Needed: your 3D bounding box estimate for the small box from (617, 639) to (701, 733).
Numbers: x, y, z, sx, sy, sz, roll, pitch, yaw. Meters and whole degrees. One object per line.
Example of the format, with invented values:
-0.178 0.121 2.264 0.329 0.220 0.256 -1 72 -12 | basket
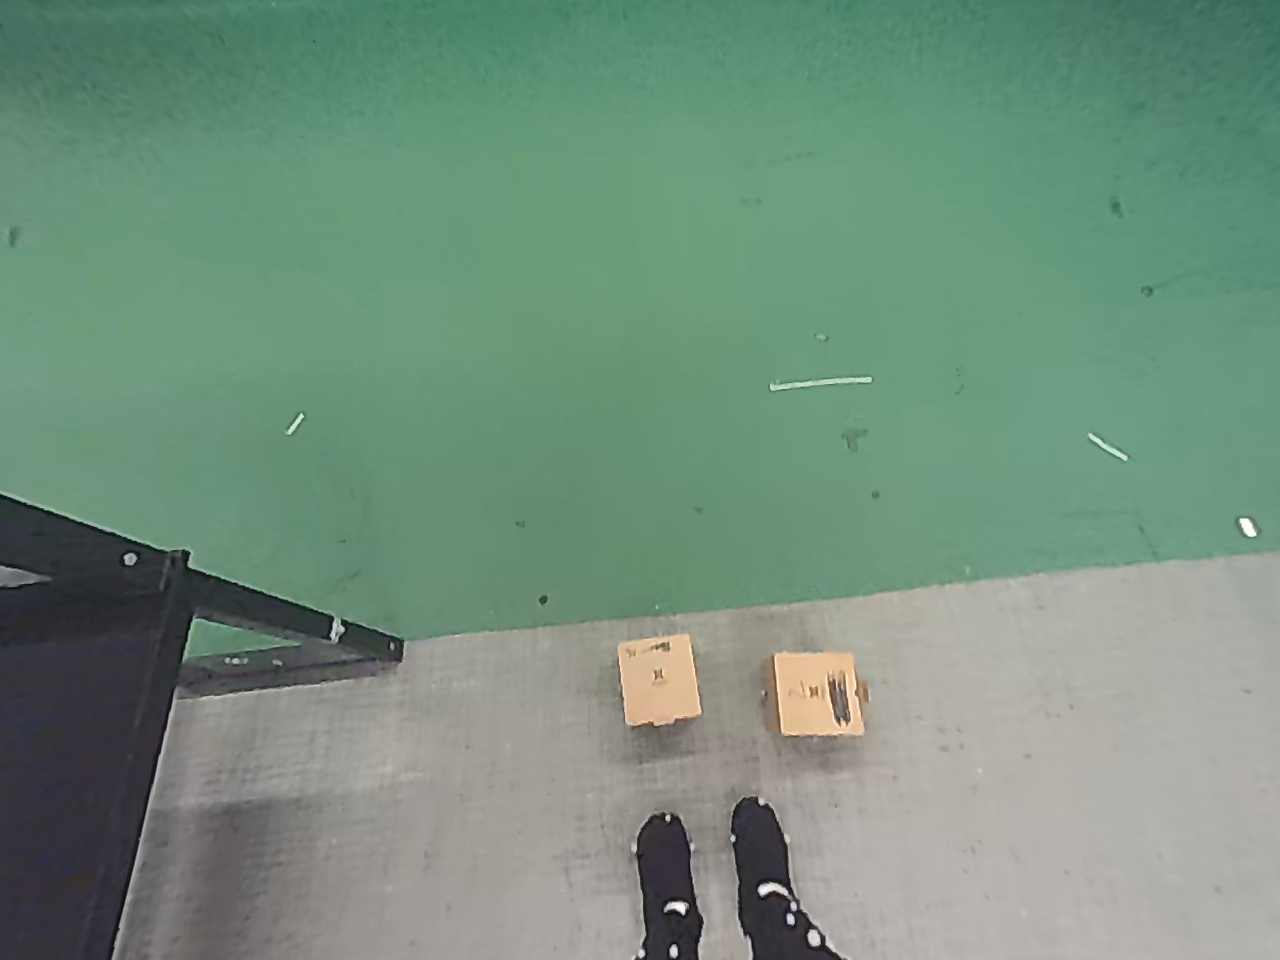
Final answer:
0.043 0.472 1.235 0.168 0.176 0.179 -7 65 -1 | small box
